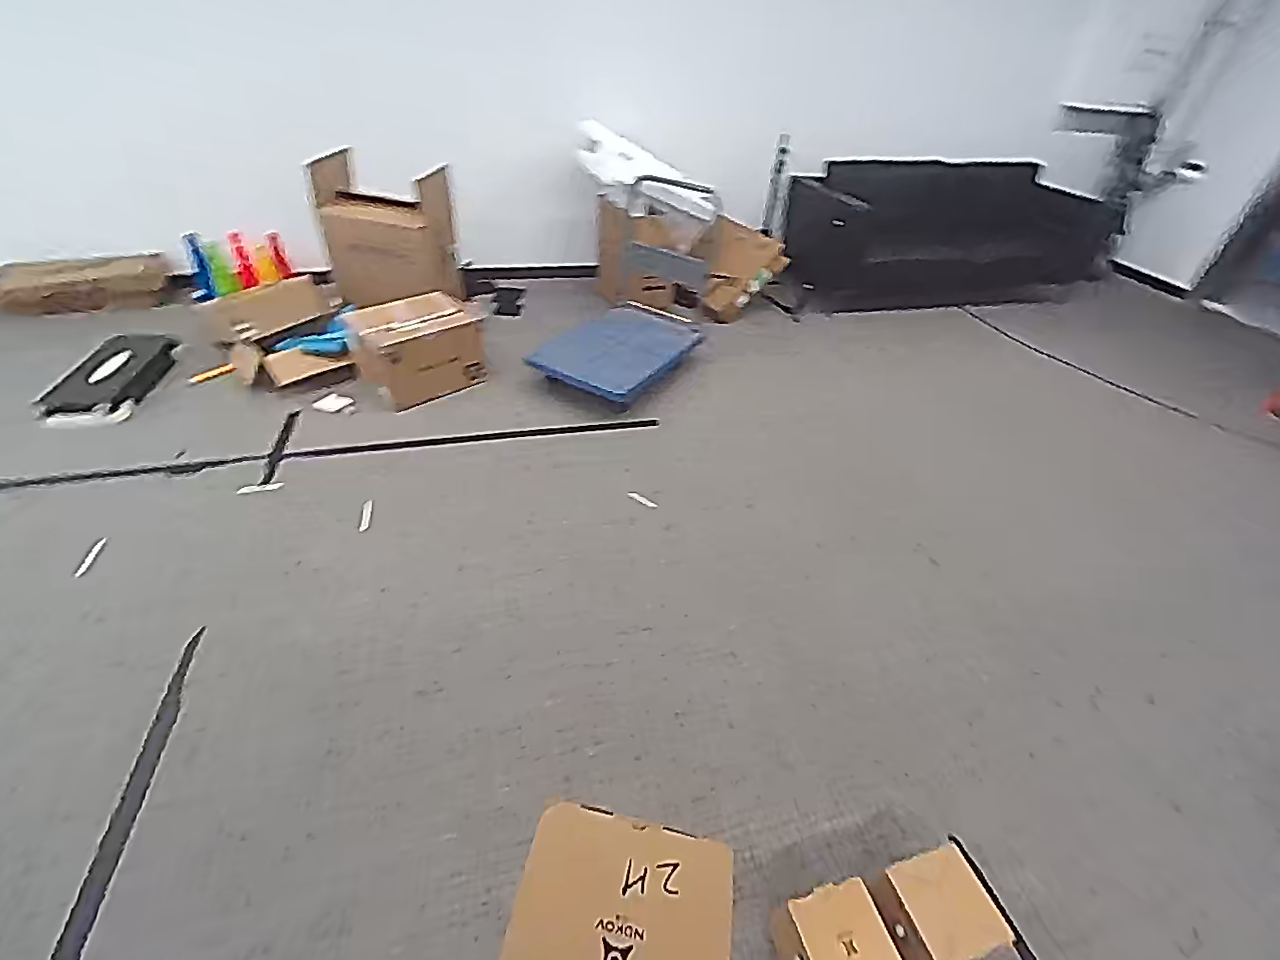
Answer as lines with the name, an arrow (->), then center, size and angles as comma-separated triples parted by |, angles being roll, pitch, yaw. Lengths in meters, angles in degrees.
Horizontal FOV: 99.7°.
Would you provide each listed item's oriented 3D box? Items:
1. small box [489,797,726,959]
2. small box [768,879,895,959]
small box -> -0.034, 0.403, 0.437 | 0.168, 0.176, 0.179 | 14, 35, 2
small box -> 0.371, 0.919, 1.045 | 0.168, 0.176, 0.179 | -7, 41, -15
